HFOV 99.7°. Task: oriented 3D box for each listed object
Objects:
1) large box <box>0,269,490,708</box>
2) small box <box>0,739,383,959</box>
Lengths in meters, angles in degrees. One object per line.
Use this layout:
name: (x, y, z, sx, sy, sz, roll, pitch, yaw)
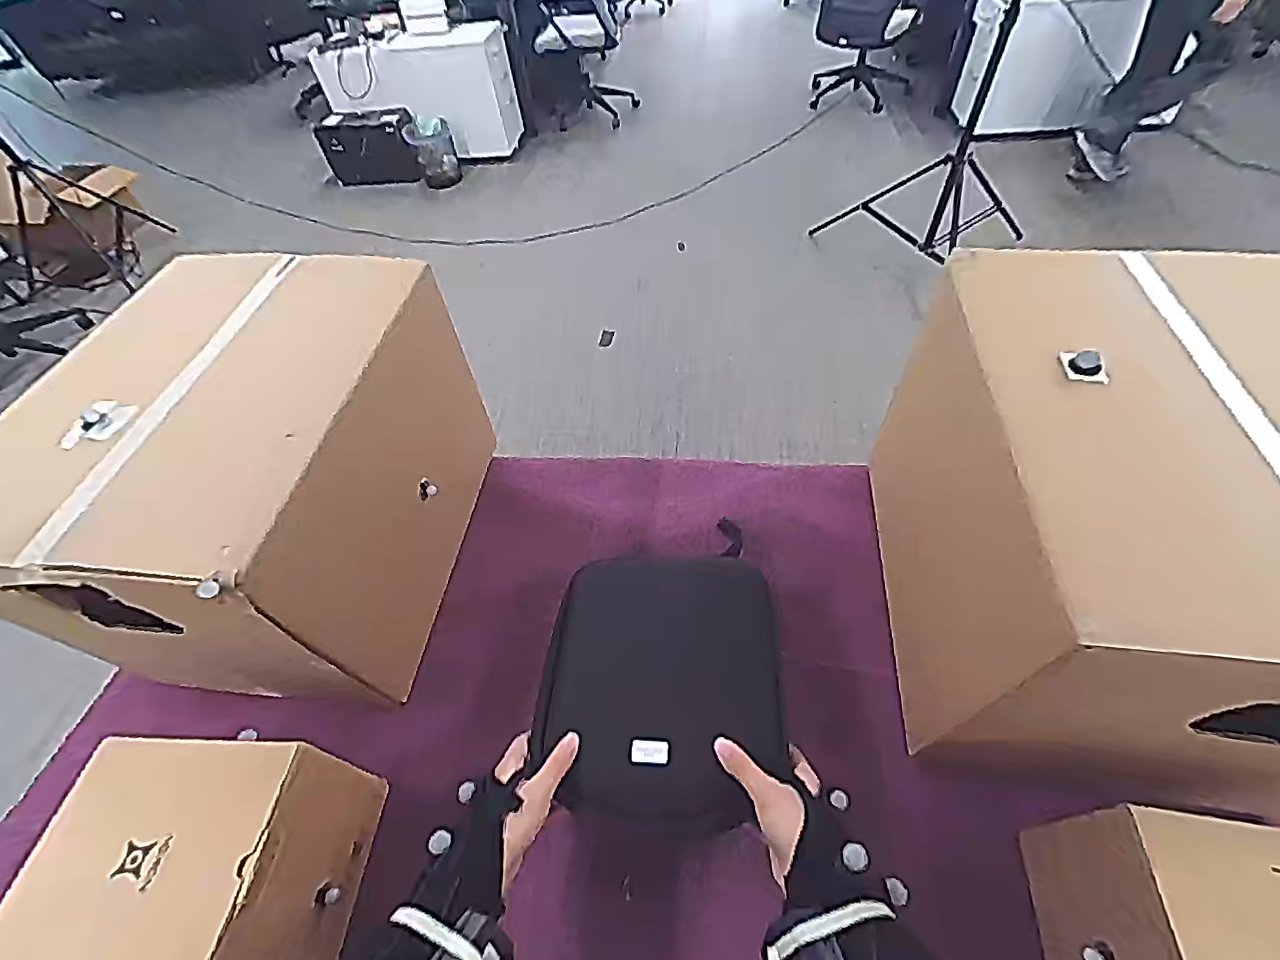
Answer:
large box: (-0.401, 0.008, 0.630, 0.320, 0.320, 0.408, 2, 54, 5)
small box: (-0.358, 0.331, 0.457, 0.179, 0.176, 0.168, -1, 50, 4)
